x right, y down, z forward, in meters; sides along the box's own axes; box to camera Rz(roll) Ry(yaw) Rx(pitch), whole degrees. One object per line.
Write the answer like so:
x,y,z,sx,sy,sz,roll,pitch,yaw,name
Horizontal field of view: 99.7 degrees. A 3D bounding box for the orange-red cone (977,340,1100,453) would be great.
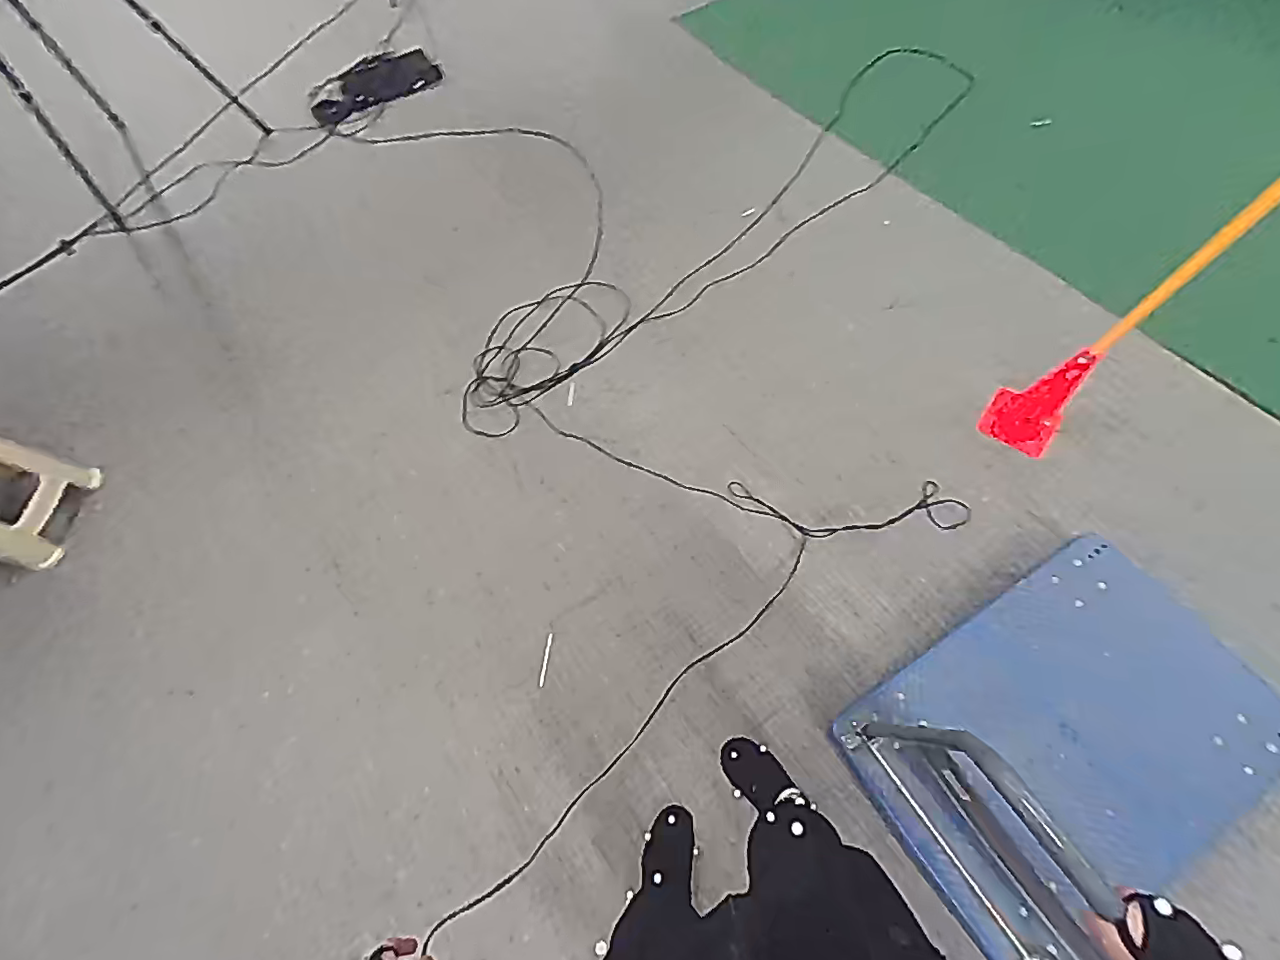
1.183,-0.270,1.557,0.199,0.360,0.198,35,71,20,orange-red cone
